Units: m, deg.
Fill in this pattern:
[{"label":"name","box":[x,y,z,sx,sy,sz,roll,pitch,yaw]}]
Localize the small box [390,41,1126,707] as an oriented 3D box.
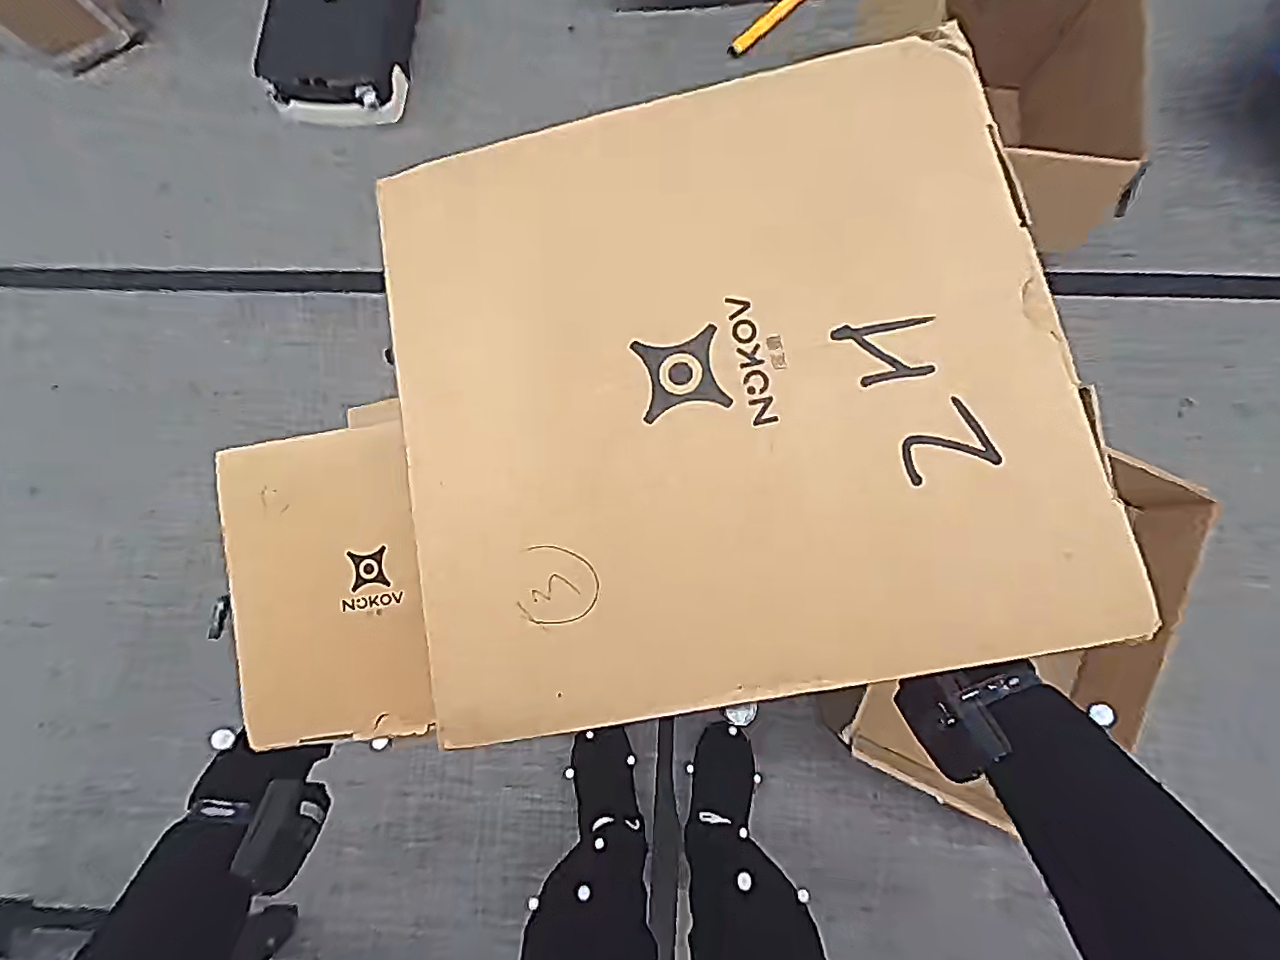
[{"label":"small box","box":[0.027,-0.020,0.228,0.179,0.176,0.168,-11,80,4]}]
